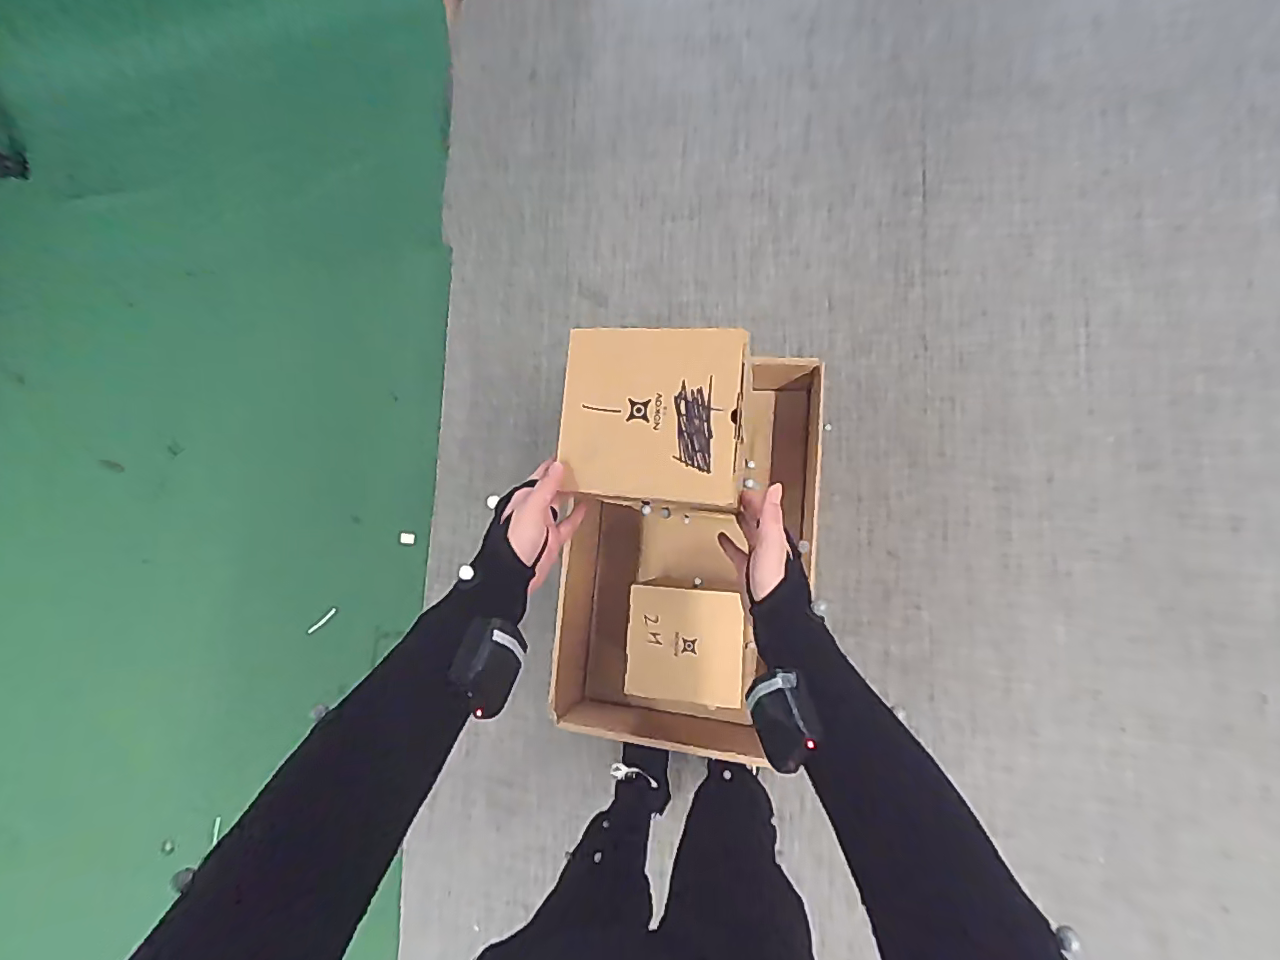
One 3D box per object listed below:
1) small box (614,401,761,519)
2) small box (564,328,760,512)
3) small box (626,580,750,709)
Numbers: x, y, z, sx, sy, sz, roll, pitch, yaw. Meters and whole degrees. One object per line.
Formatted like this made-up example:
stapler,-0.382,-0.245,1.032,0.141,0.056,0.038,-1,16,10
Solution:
small box,0.070,-0.037,0.752,0.179,0.176,0.168,6,86,14
small box,0.036,-0.055,0.592,0.179,0.176,0.168,5,86,14
small box,0.086,0.254,0.877,0.179,0.176,0.168,3,83,13
